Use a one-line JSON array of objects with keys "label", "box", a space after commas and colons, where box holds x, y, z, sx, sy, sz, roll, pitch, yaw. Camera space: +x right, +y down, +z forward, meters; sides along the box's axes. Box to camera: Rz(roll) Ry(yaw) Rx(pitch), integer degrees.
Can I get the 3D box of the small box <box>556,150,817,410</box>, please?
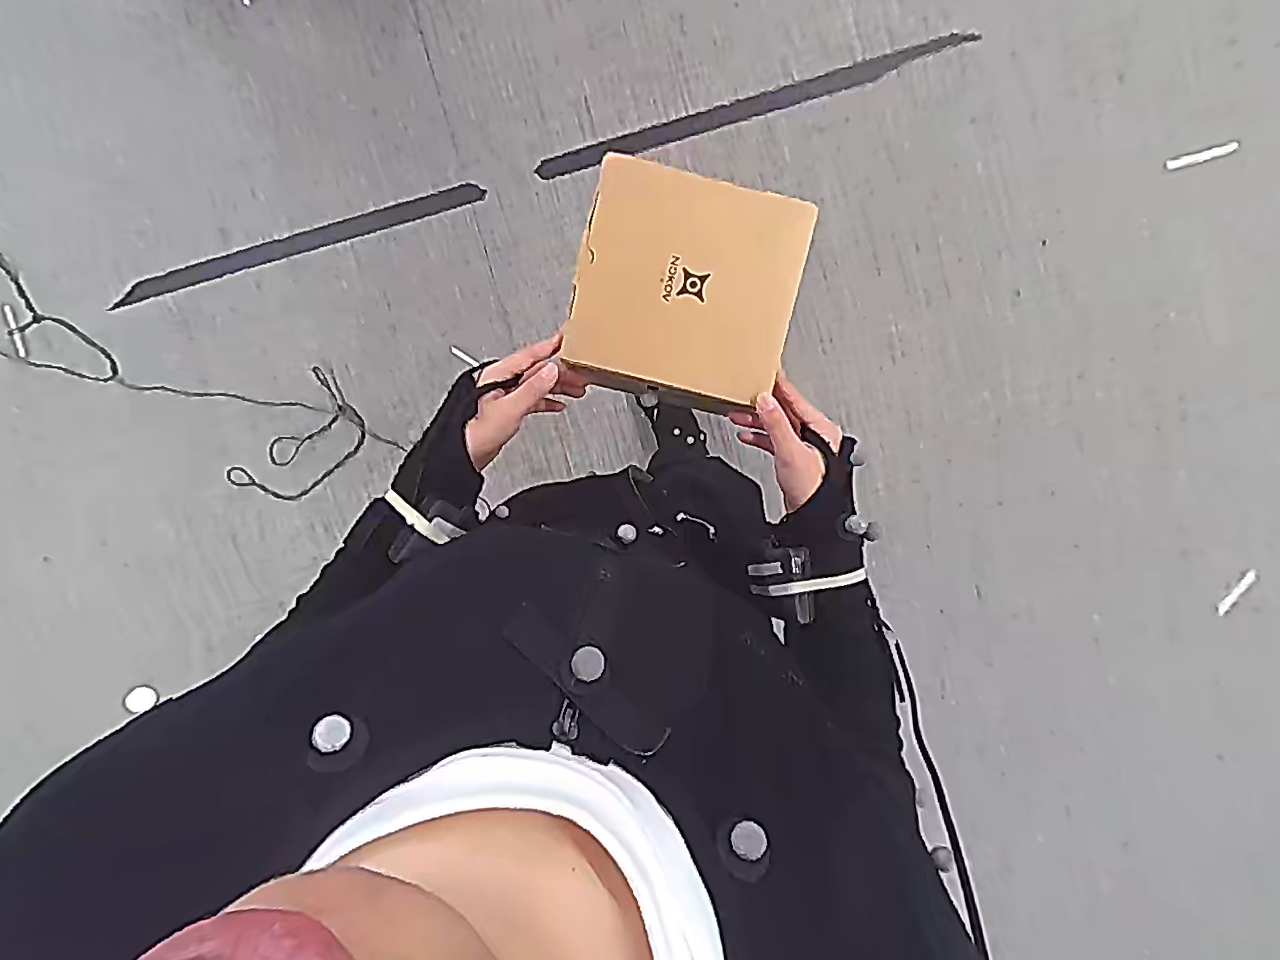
[{"label": "small box", "box": [0.036, -0.163, 0.503, 0.179, 0.176, 0.168, 13, 94, -1]}]
